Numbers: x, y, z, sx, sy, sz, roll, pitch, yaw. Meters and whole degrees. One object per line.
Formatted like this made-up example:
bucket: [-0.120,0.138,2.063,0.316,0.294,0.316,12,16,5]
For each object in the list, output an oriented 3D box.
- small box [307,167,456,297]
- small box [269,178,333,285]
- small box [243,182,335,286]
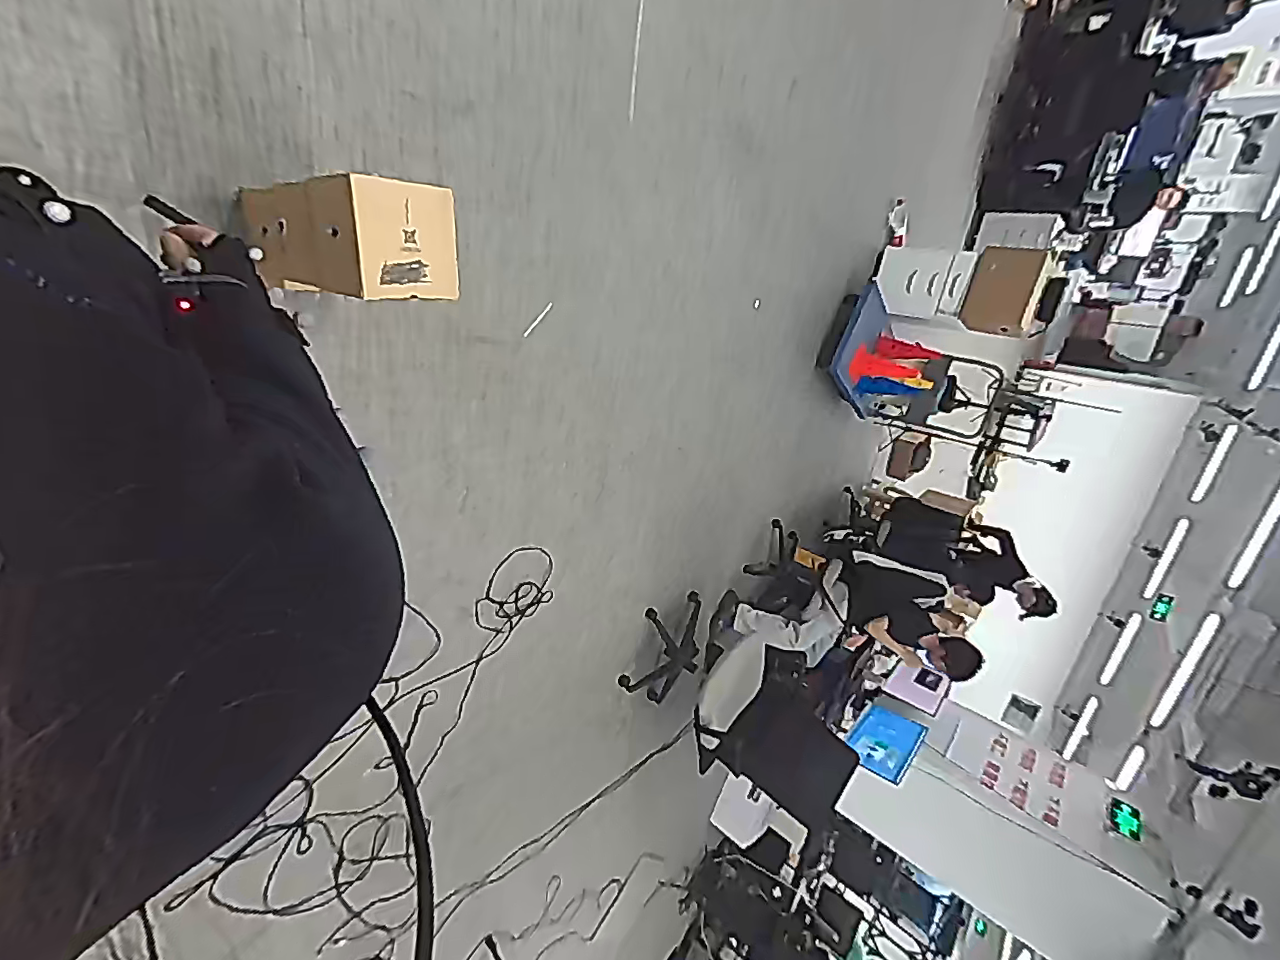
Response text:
small box: [-0.427,-0.406,0.903,0.168,0.176,0.179,-20,121,-46]
small box: [-0.549,-0.454,1.002,0.179,0.176,0.168,-20,122,-44]
small box: [-0.676,-0.493,1.098,0.168,0.176,0.179,-20,122,-45]
